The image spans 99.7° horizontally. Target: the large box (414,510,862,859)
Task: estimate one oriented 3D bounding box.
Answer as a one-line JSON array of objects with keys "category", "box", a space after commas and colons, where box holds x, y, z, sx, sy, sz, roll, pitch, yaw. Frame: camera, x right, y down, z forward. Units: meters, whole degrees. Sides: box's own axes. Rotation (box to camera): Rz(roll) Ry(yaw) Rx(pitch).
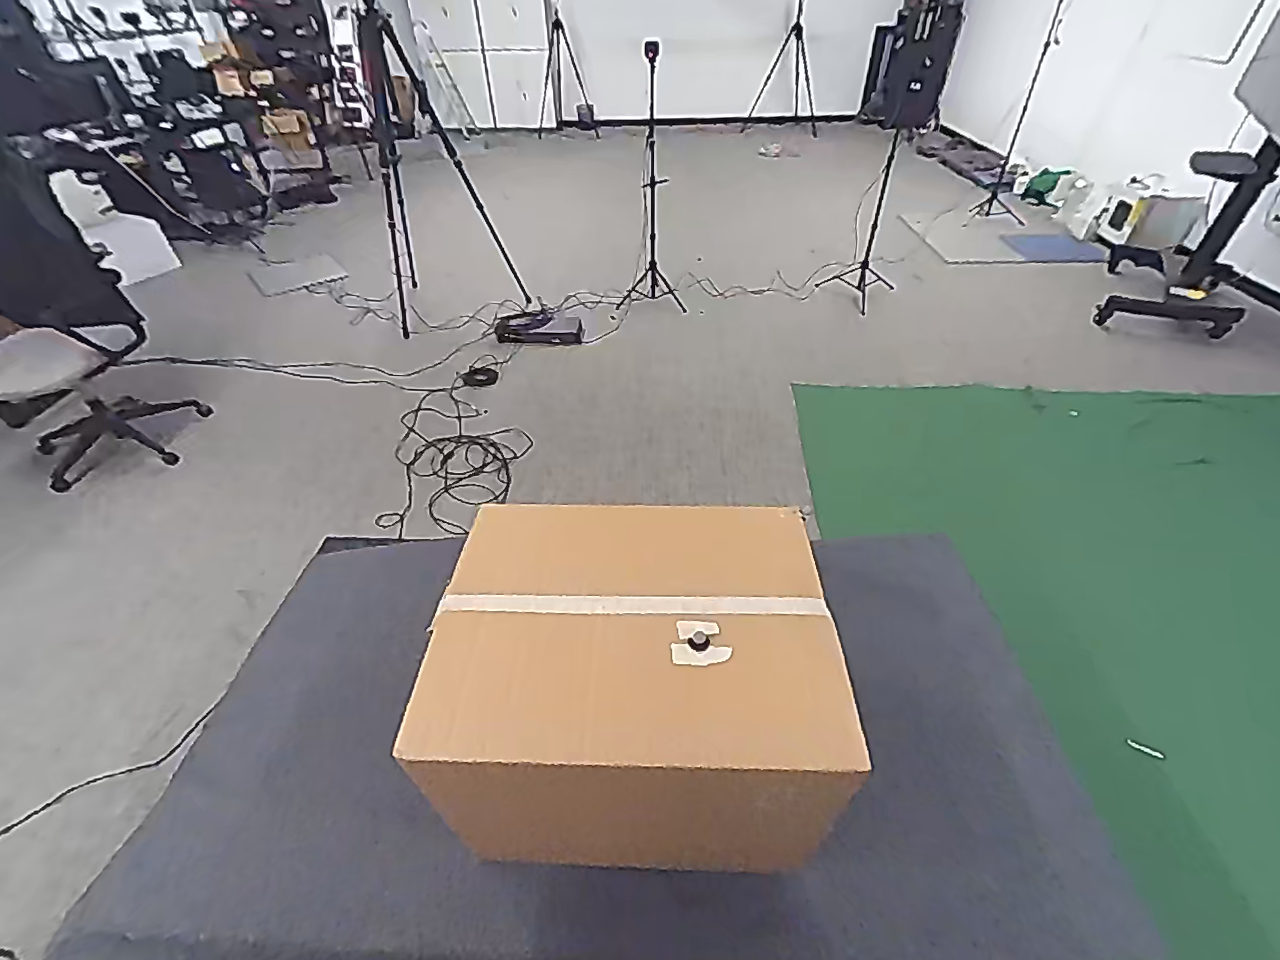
[{"category": "large box", "box": [0.000, 0.252, 0.680, 0.408, 0.320, 0.320, 0, 42, 2]}]
